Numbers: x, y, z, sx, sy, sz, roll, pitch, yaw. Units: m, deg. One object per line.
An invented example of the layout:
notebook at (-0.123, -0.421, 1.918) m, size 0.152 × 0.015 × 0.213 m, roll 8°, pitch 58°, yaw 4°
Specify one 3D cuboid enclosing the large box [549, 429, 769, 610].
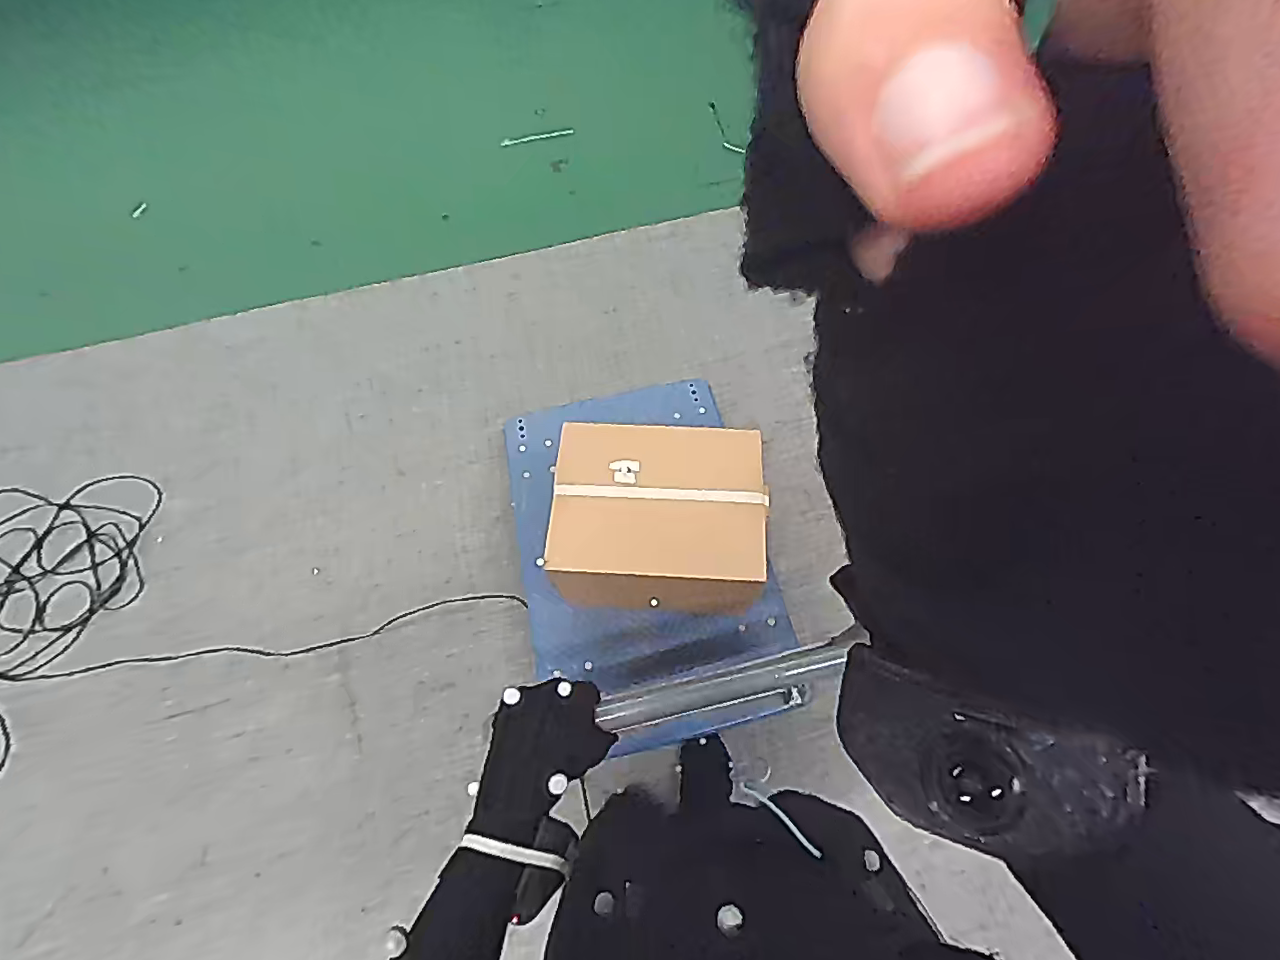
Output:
large box at (0.047, 0.098, 1.164) m, size 0.408 × 0.320 × 0.320 m, roll 2°, pitch 65°, yaw 4°
